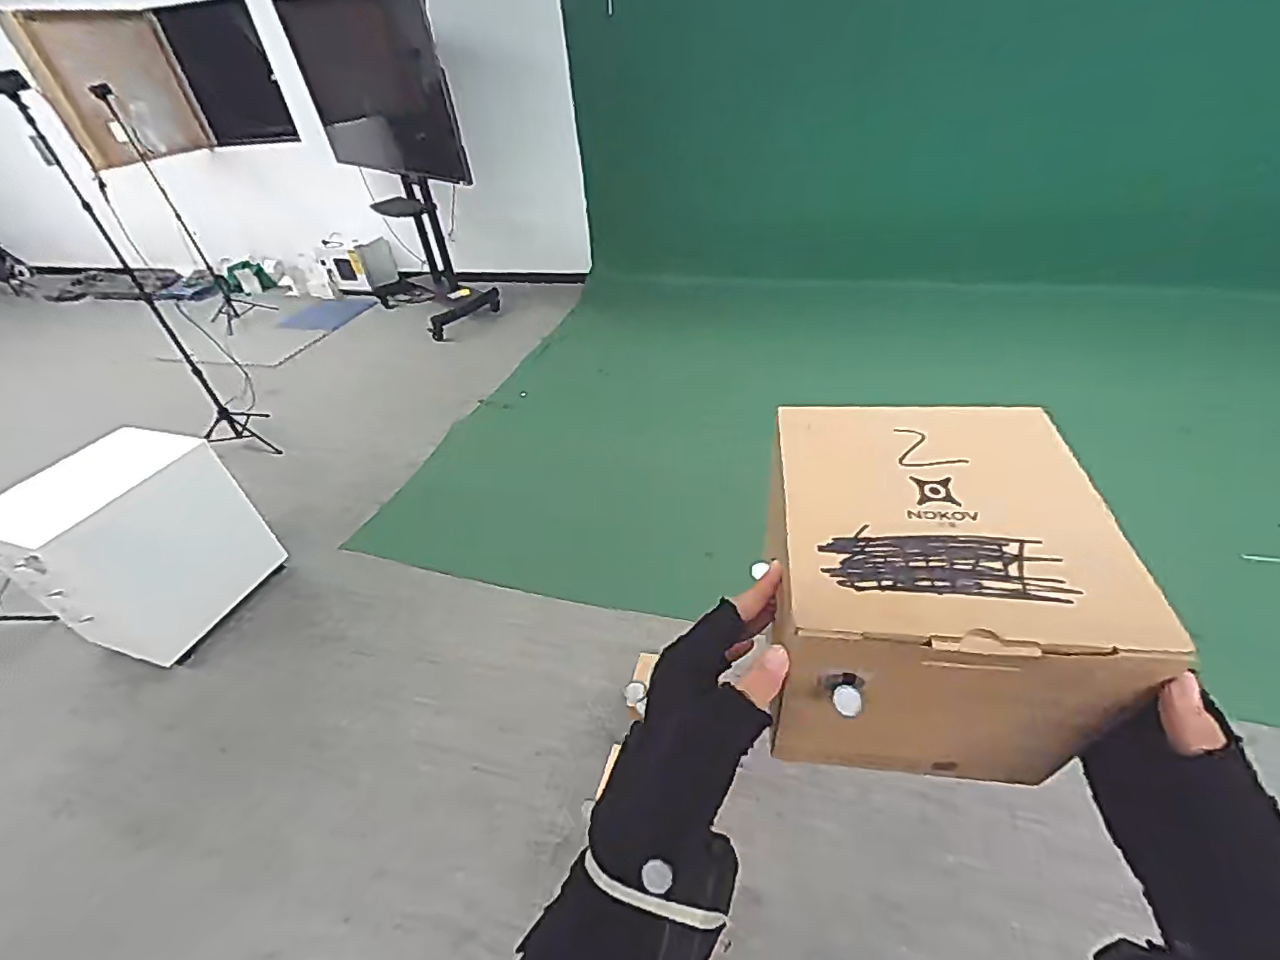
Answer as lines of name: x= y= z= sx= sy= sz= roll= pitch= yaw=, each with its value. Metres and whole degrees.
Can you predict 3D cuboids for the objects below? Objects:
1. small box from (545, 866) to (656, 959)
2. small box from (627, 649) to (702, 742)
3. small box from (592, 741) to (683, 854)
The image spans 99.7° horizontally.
small box: x=-0.071 y=0.933 z=1.107 sx=0.179 sy=0.176 sz=0.168 roll=7 pitch=41 yaw=14
small box: x=0.073 y=0.602 z=1.505 sx=0.179 sy=0.176 sz=0.168 roll=5 pitch=40 yaw=13
small box: x=0.001 y=0.769 z=1.307 sx=0.179 sy=0.176 sz=0.168 roll=8 pitch=40 yaw=15
